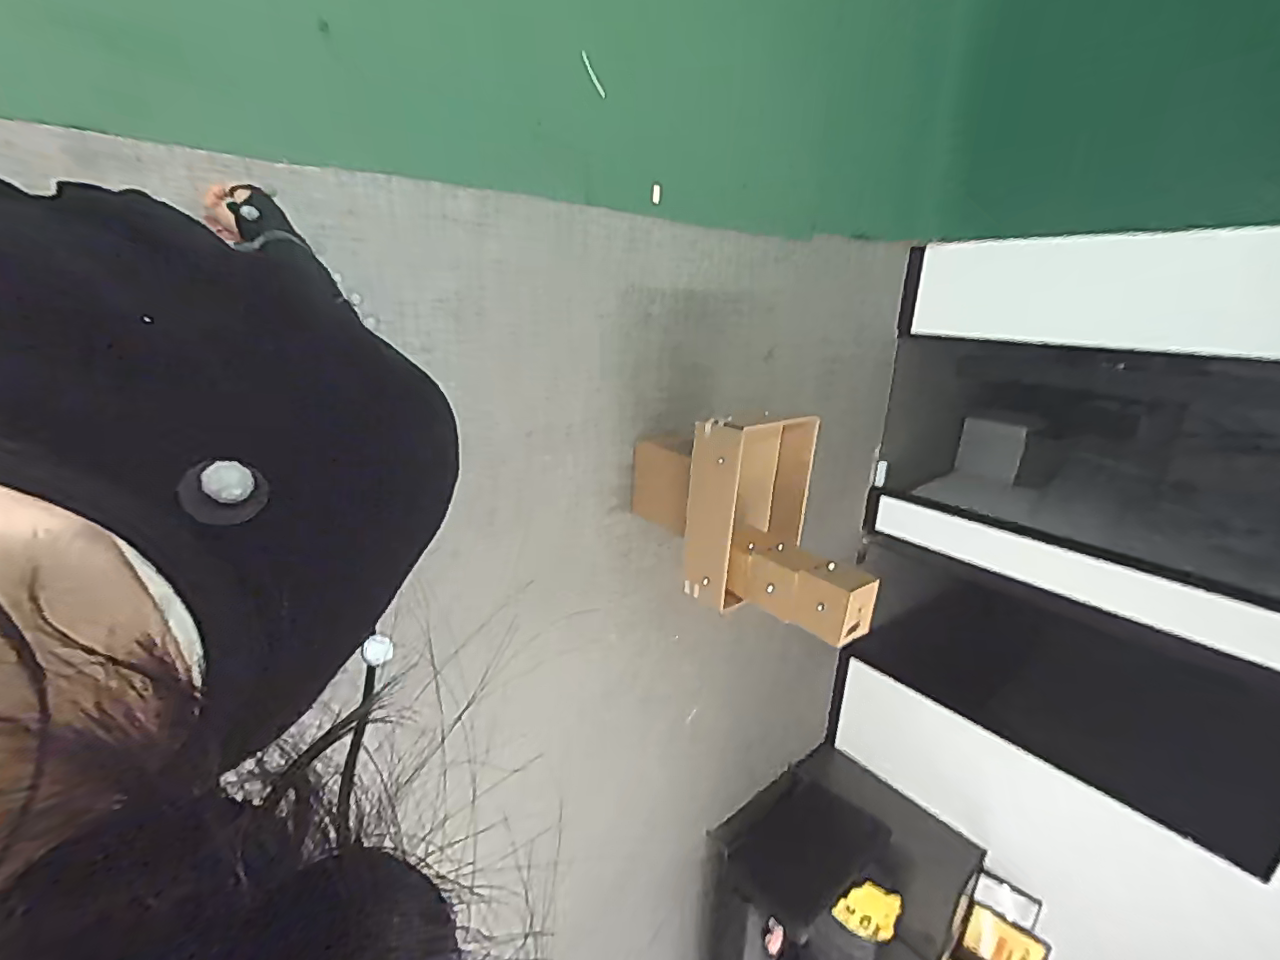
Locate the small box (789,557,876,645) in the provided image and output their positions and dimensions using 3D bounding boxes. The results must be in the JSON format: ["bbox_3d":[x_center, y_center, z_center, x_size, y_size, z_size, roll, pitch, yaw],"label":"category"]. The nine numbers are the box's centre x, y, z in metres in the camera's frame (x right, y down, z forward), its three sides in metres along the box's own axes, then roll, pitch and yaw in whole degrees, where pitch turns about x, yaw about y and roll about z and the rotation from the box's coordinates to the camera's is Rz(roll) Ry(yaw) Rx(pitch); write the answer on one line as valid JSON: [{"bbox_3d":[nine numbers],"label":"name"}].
[{"bbox_3d":[0.561,0.350,1.595,0.168,0.176,0.179,-8,111,-39],"label":"small box"}]
